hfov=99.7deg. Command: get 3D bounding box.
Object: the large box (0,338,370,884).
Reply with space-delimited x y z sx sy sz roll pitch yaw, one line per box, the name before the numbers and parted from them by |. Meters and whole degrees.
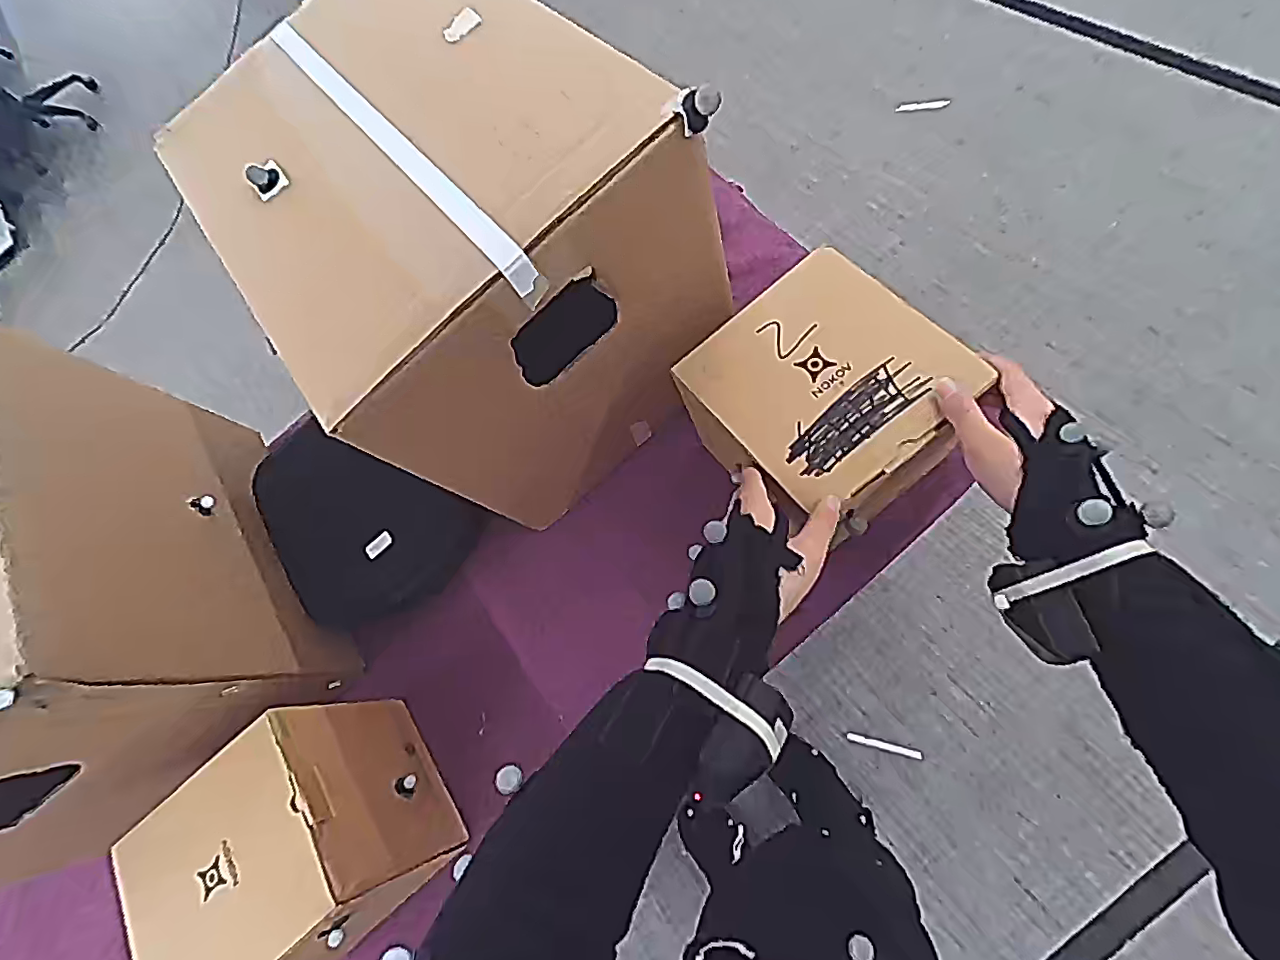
large box | -0.581 0.131 0.570 0.320 0.320 0.408 -40 69 1
